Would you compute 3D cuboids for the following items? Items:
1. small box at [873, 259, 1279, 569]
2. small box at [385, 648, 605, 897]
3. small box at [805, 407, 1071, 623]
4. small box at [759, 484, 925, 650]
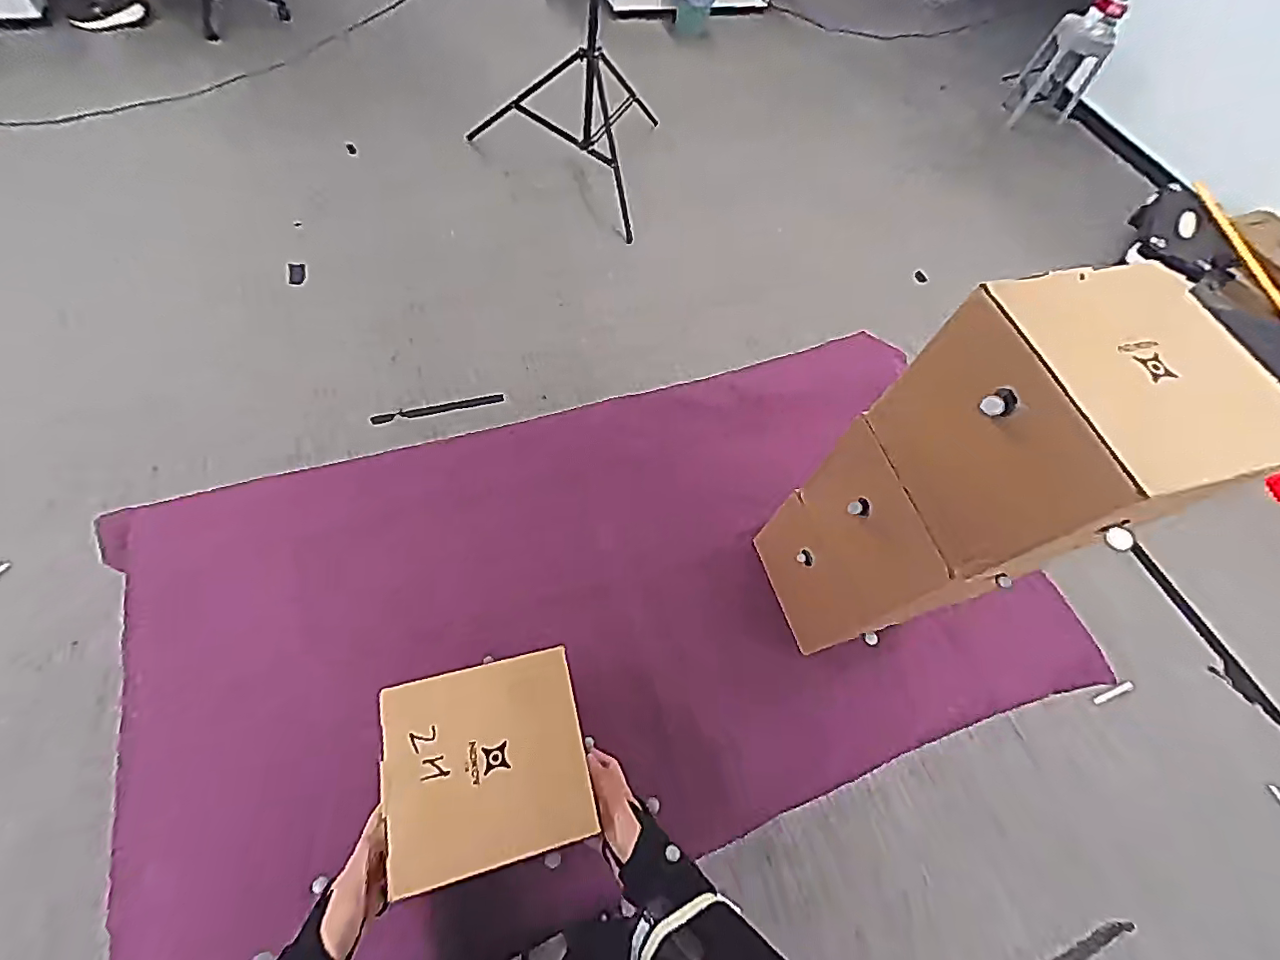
[{"bbox_3d":[0.326,-0.042,0.429,0.168,0.176,0.179,-12,63,-13],"label":"small box"},{"bbox_3d":[-0.144,0.288,0.554,0.179,0.176,0.168,-10,62,-13],"label":"small box"},{"bbox_3d":[0.303,0.031,0.574,0.168,0.176,0.179,-11,63,-13],"label":"small box"},{"bbox_3d":[0.281,0.105,0.718,0.168,0.176,0.179,-13,64,-14],"label":"small box"}]
